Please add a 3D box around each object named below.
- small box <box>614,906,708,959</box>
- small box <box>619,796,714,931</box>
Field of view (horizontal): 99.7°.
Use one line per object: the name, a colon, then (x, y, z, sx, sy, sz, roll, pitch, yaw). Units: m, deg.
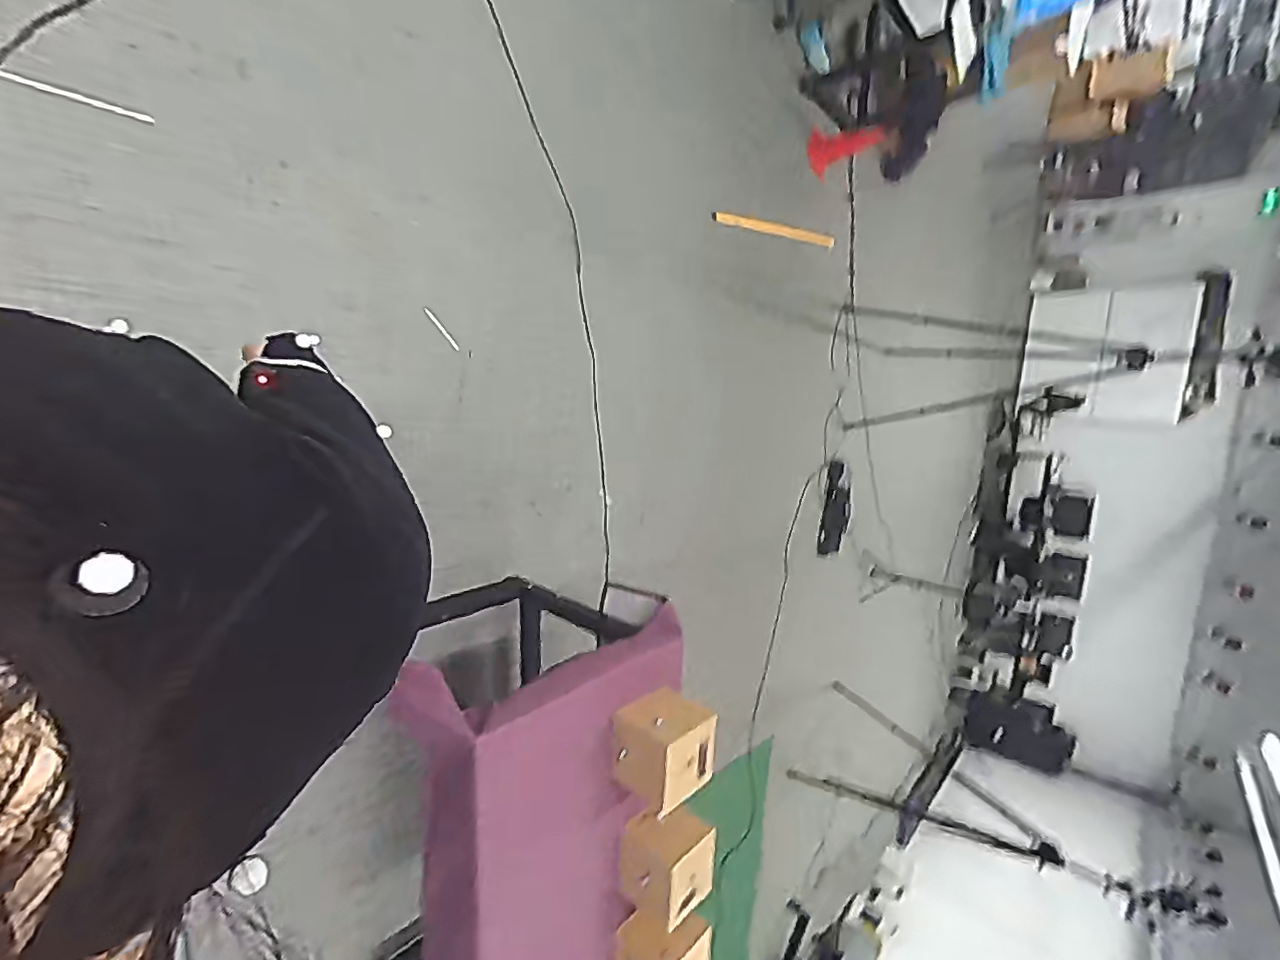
small box: (0.052, 1.211, 1.384, 0.179, 0.176, 0.168, -7, 103, -45)
small box: (0.062, 0.933, 1.335, 0.168, 0.176, 0.179, -5, 101, -46)
